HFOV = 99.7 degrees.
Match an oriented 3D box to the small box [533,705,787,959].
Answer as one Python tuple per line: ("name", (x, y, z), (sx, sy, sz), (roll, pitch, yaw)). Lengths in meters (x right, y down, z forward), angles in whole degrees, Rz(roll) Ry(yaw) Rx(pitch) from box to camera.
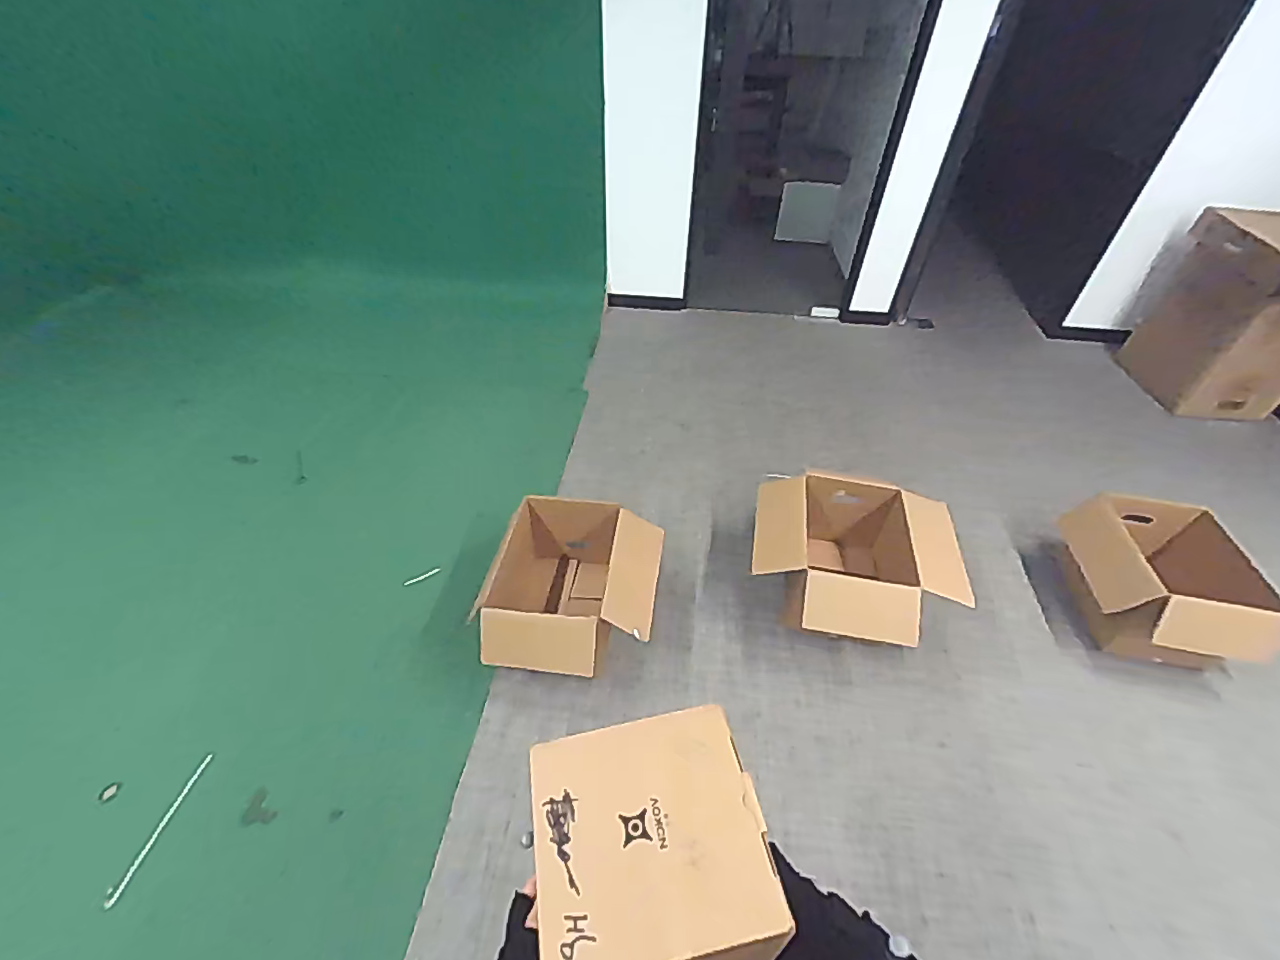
("small box", (0.006, 0.329, 0.478), (0.179, 0.176, 0.168), (-8, 41, -7))
